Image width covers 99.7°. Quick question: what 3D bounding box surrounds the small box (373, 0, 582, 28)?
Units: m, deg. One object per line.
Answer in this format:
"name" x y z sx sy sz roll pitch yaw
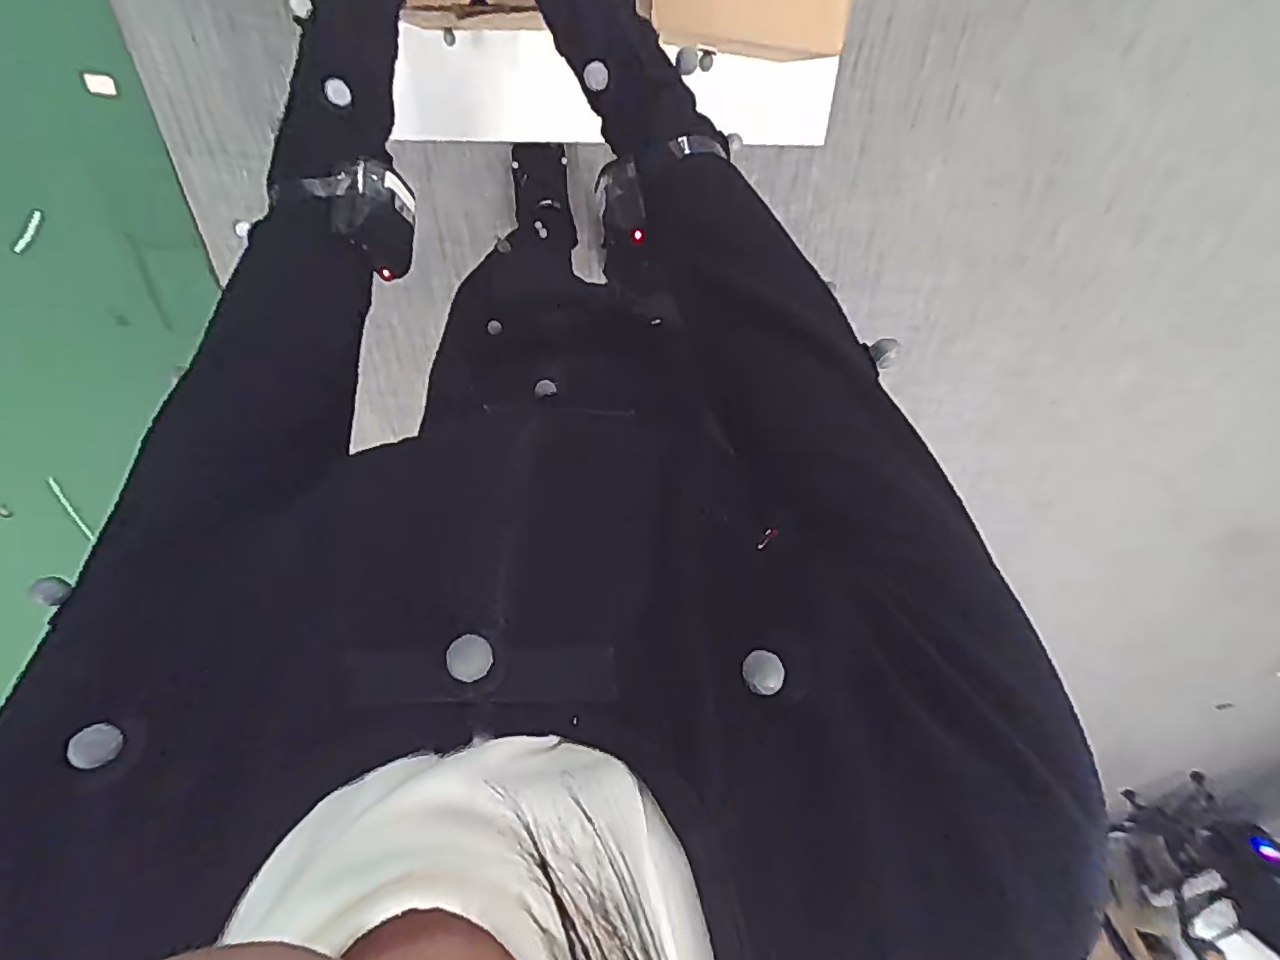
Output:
"small box" -0.135 -0.492 0.443 0.168 0.176 0.179 -3 124 -4

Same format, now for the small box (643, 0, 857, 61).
"small box" 0.093 -0.476 0.458 0.168 0.176 0.179 3 127 -5
